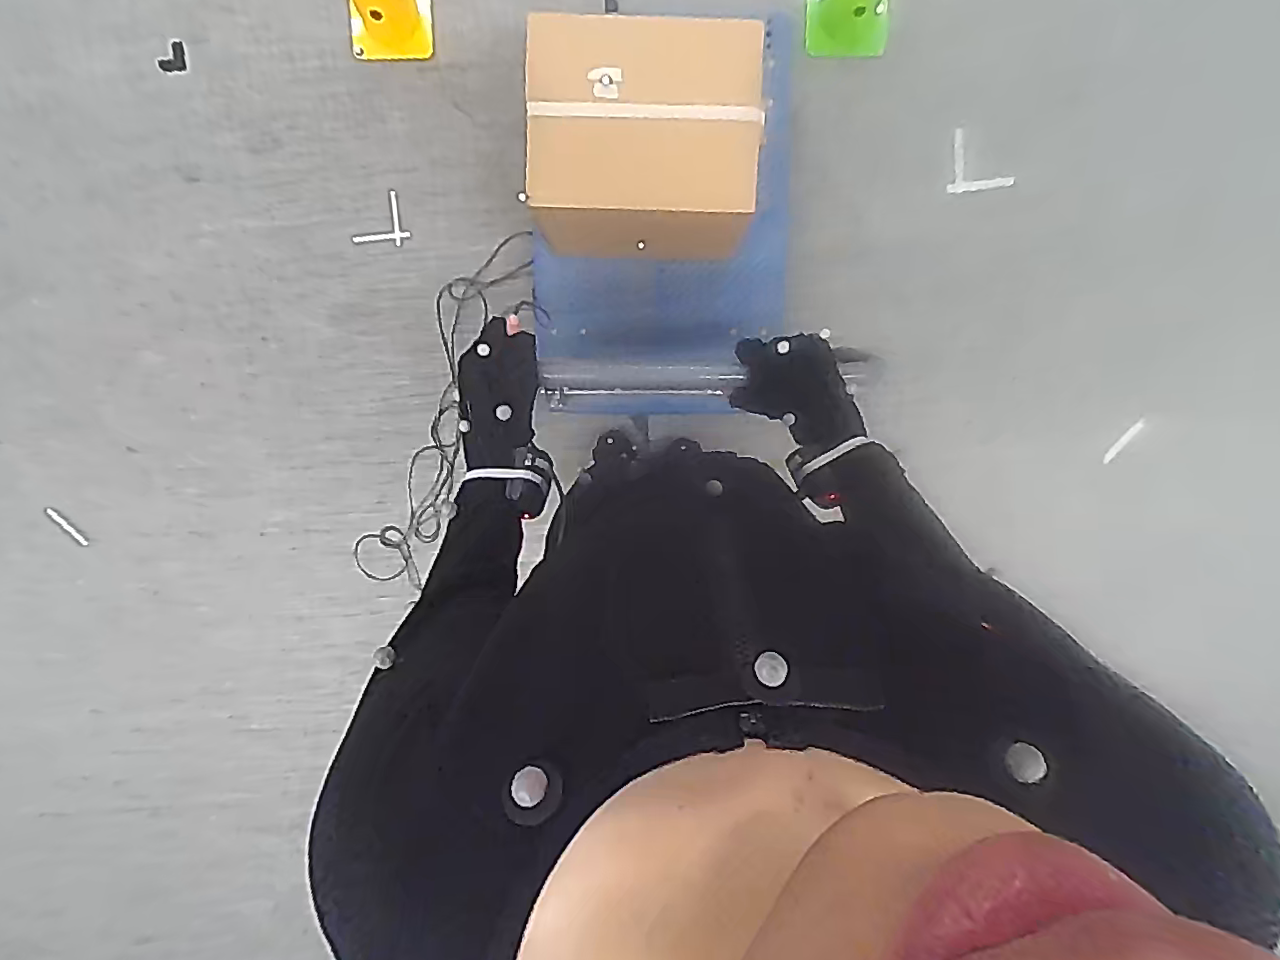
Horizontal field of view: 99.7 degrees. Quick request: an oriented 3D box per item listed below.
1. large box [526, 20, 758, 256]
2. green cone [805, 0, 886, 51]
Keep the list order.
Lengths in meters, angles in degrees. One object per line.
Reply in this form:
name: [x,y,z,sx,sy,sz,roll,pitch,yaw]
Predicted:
large box: [0.006,-0.648,1.084,0.408,0.320,0.320,2,97,1]
green cone: [0.512,-1.153,1.170,0.202,0.368,0.200,0,96,-1]
